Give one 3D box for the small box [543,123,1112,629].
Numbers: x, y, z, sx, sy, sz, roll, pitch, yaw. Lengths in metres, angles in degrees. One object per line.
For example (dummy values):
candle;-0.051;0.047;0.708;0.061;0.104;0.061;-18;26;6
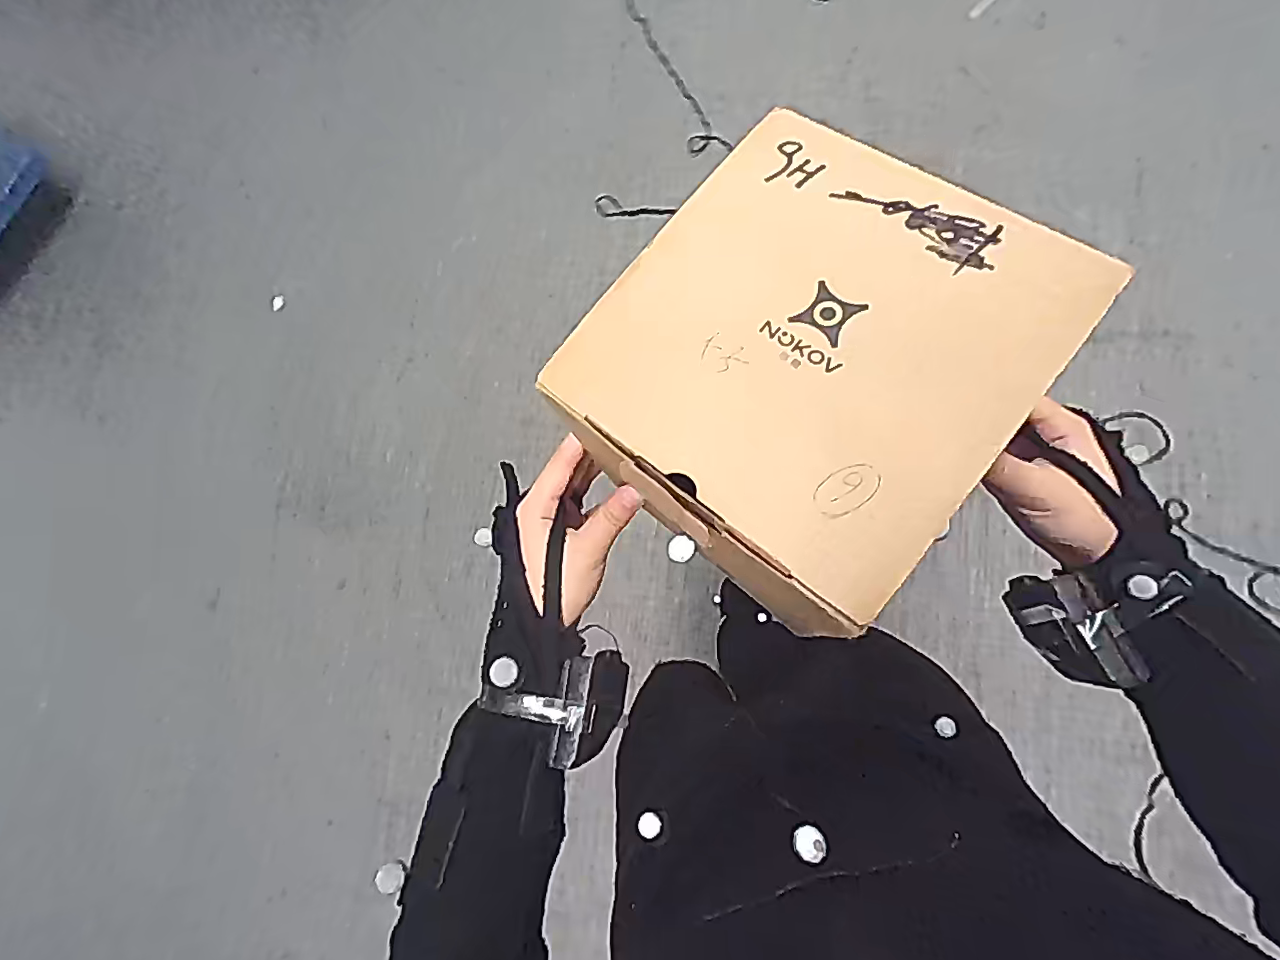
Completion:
small box;0.084;-0.036;0.301;0.168;0.176;0.179;39;85;18
